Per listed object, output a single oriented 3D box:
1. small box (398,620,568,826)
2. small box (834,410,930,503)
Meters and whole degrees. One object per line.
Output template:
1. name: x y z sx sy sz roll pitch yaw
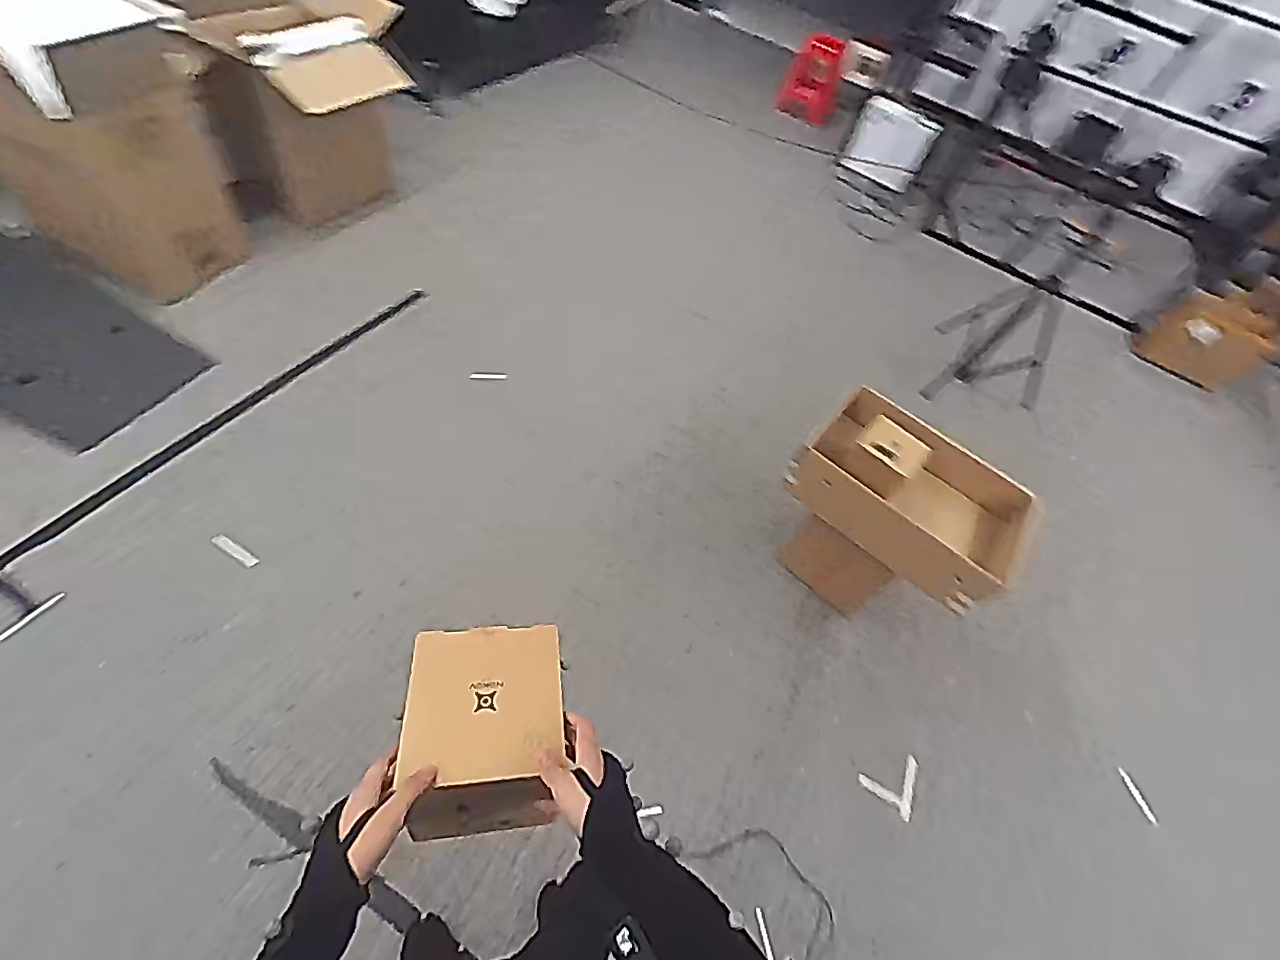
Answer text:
1. small box: -0.173 0.289 0.642 0.168 0.176 0.179 2 42 -12
2. small box: 0.696 -0.063 1.576 0.168 0.176 0.179 40 55 15
